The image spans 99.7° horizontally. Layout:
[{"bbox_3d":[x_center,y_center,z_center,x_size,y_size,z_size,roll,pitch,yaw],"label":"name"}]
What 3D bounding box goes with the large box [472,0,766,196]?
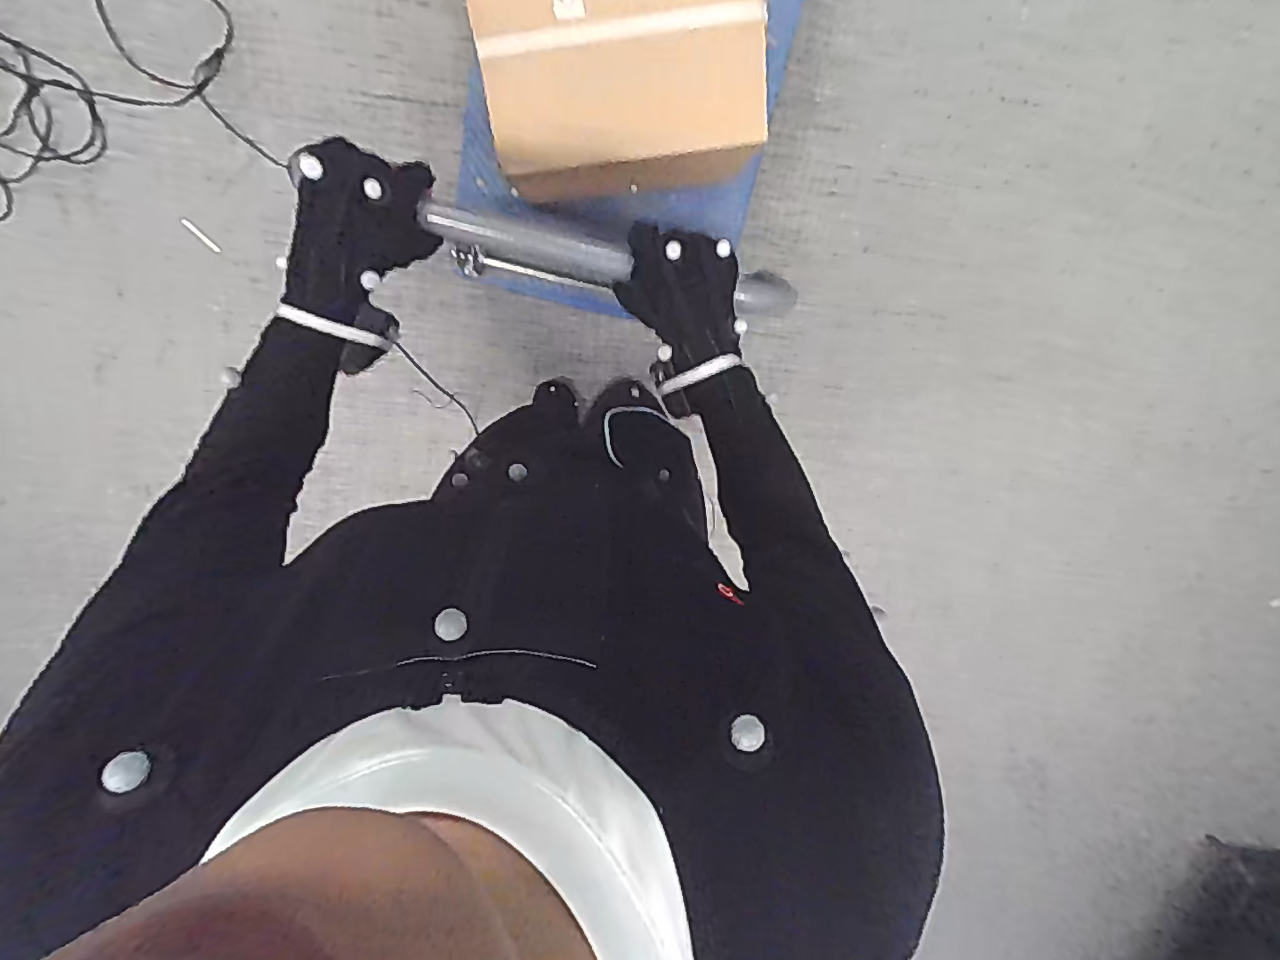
[{"bbox_3d":[-0.029,-0.682,0.893,0.408,0.320,0.320,-6,109,1],"label":"large box"}]
